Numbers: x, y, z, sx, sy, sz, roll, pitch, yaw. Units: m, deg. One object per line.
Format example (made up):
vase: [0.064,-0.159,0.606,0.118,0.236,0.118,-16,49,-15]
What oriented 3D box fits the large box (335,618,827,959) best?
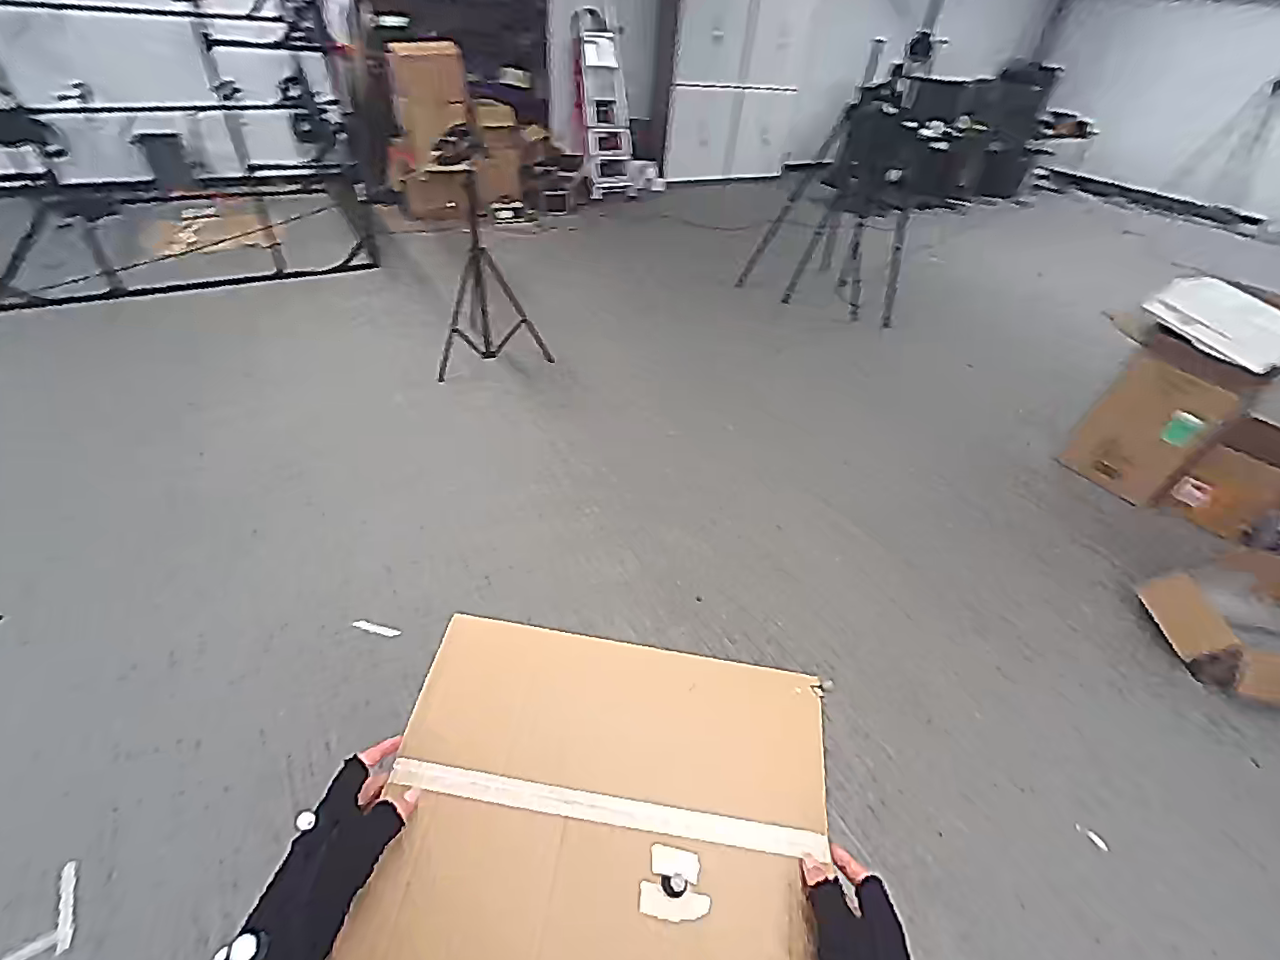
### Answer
large box: [-0.042,0.391,0.624,0.408,0.320,0.320,9,52,1]
